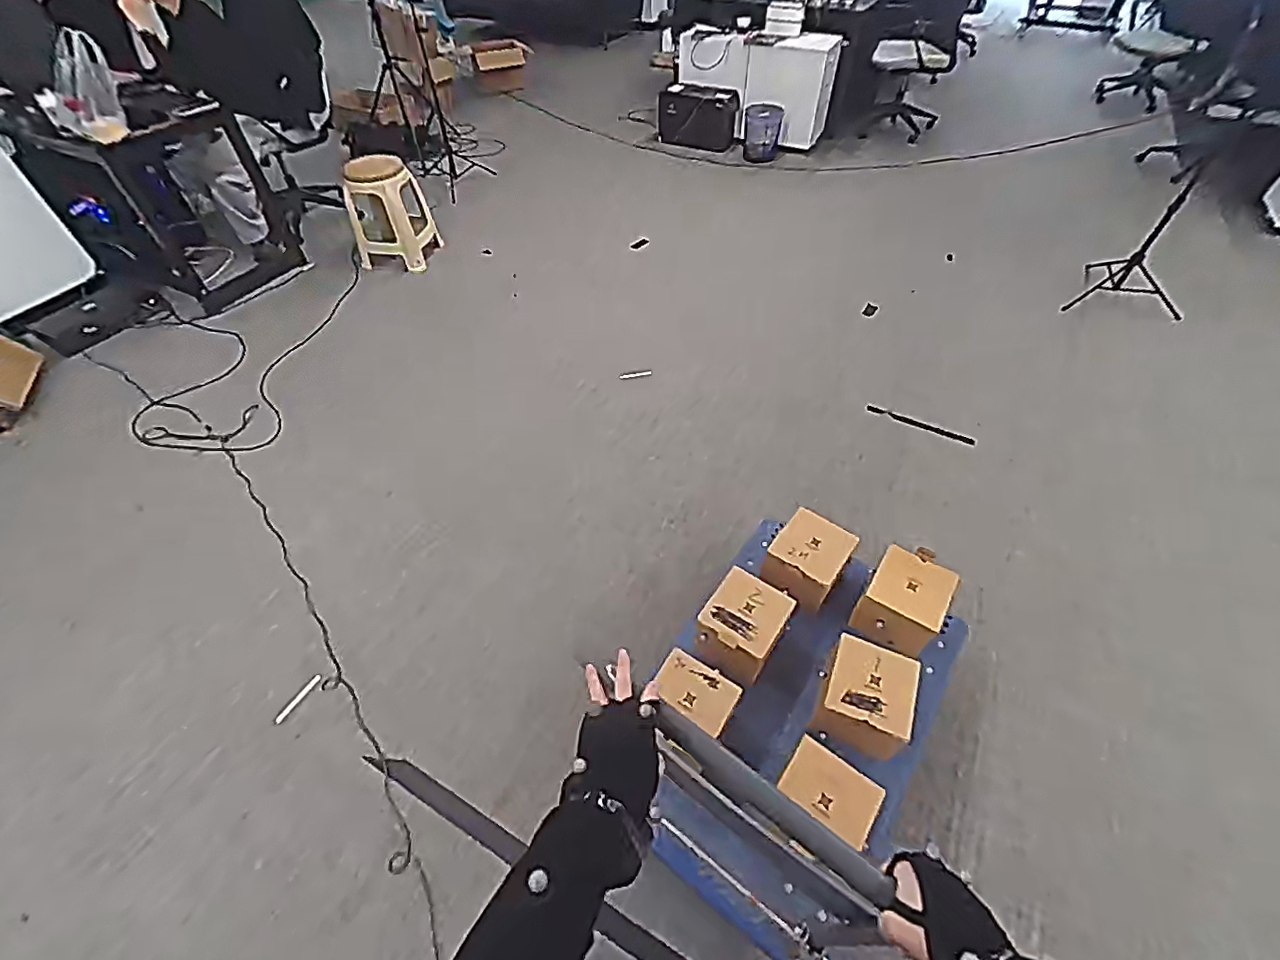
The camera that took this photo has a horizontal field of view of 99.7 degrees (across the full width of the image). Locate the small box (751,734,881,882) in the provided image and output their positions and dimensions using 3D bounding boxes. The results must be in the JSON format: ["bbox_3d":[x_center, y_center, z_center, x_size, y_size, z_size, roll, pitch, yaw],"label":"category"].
[{"bbox_3d":[0.331,0.639,1.049,0.168,0.176,0.179,31,57,23],"label":"small box"}]

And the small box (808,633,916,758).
[{"bbox_3d":[0.479,0.474,1.182,0.168,0.176,0.179,20,52,17],"label":"small box"}]

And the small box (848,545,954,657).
[{"bbox_3d":[0.631,0.300,1.325,0.168,0.176,0.179,28,56,22],"label":"small box"}]

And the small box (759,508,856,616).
[{"bbox_3d":[0.425,0.213,1.398,0.168,0.176,0.179,32,58,25],"label":"small box"}]

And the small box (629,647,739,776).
[{"bbox_3d":[0.093,0.502,1.163,0.168,0.176,0.179,28,56,20],"label":"small box"}]
